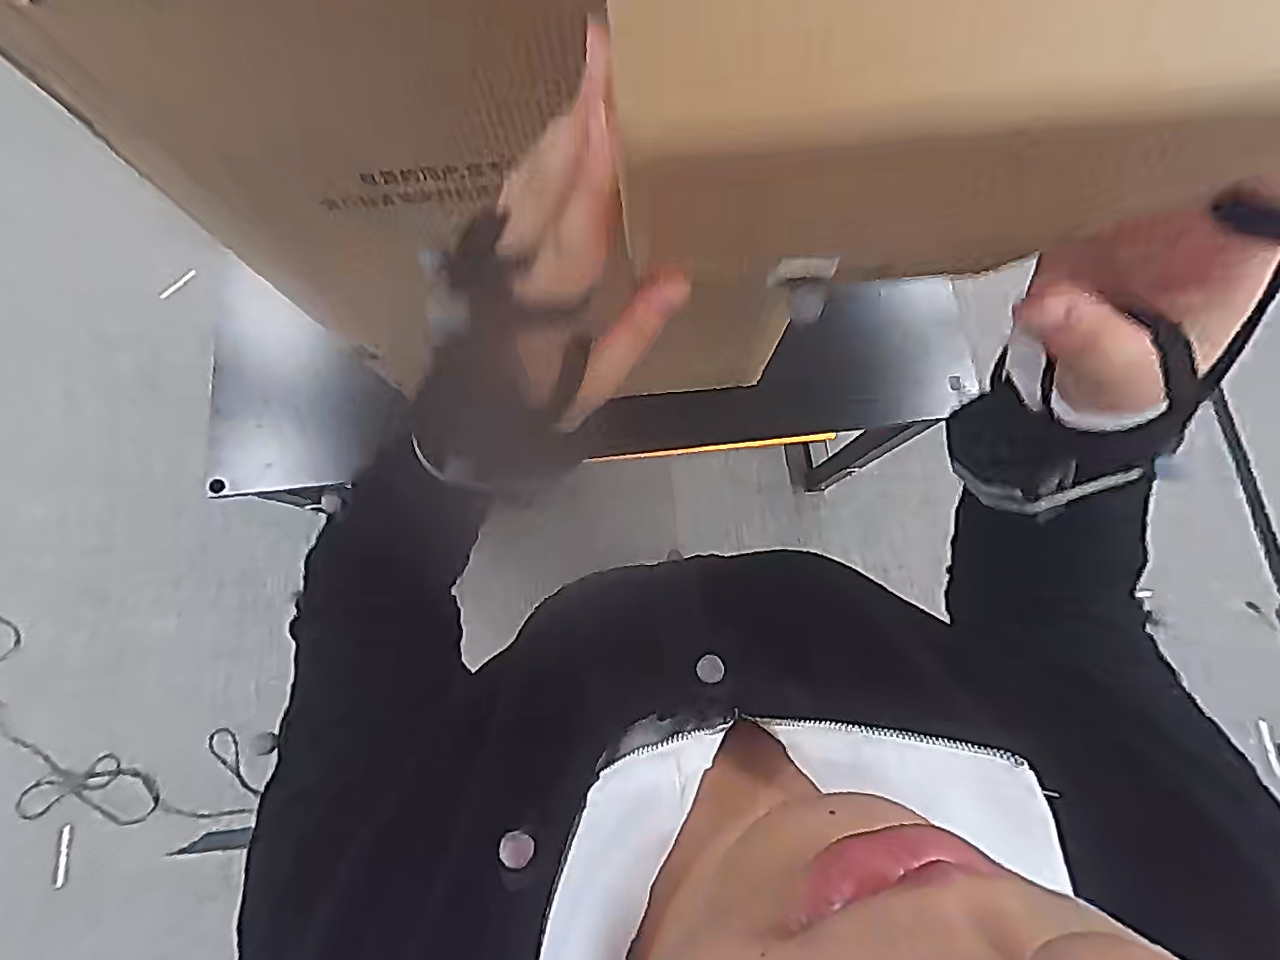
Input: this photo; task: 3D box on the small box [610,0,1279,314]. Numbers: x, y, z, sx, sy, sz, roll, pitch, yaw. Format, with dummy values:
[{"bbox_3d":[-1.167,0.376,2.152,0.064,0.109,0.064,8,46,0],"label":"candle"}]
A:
[{"bbox_3d":[0.073,-0.157,0.167,0.168,0.176,0.179,-5,101,1],"label":"small box"}]
